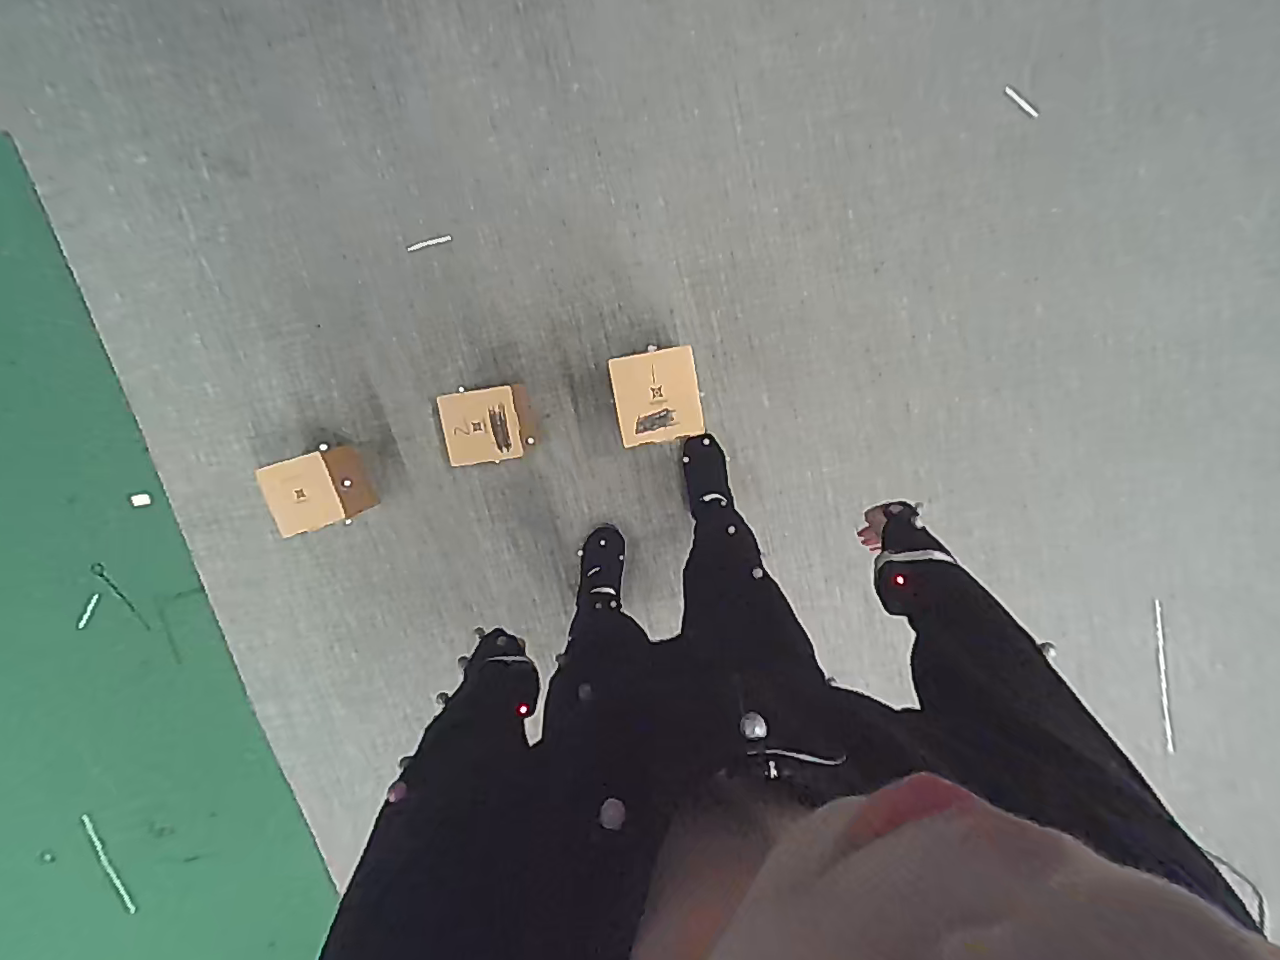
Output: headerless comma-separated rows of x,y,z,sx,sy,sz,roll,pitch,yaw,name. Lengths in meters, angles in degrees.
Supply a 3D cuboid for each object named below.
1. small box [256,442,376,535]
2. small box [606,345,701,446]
-0.793,0.015,1.343,0.168,0.176,0.179,-15,100,3,small box
0.029,-0.177,1.127,0.168,0.176,0.179,-10,100,2,small box
